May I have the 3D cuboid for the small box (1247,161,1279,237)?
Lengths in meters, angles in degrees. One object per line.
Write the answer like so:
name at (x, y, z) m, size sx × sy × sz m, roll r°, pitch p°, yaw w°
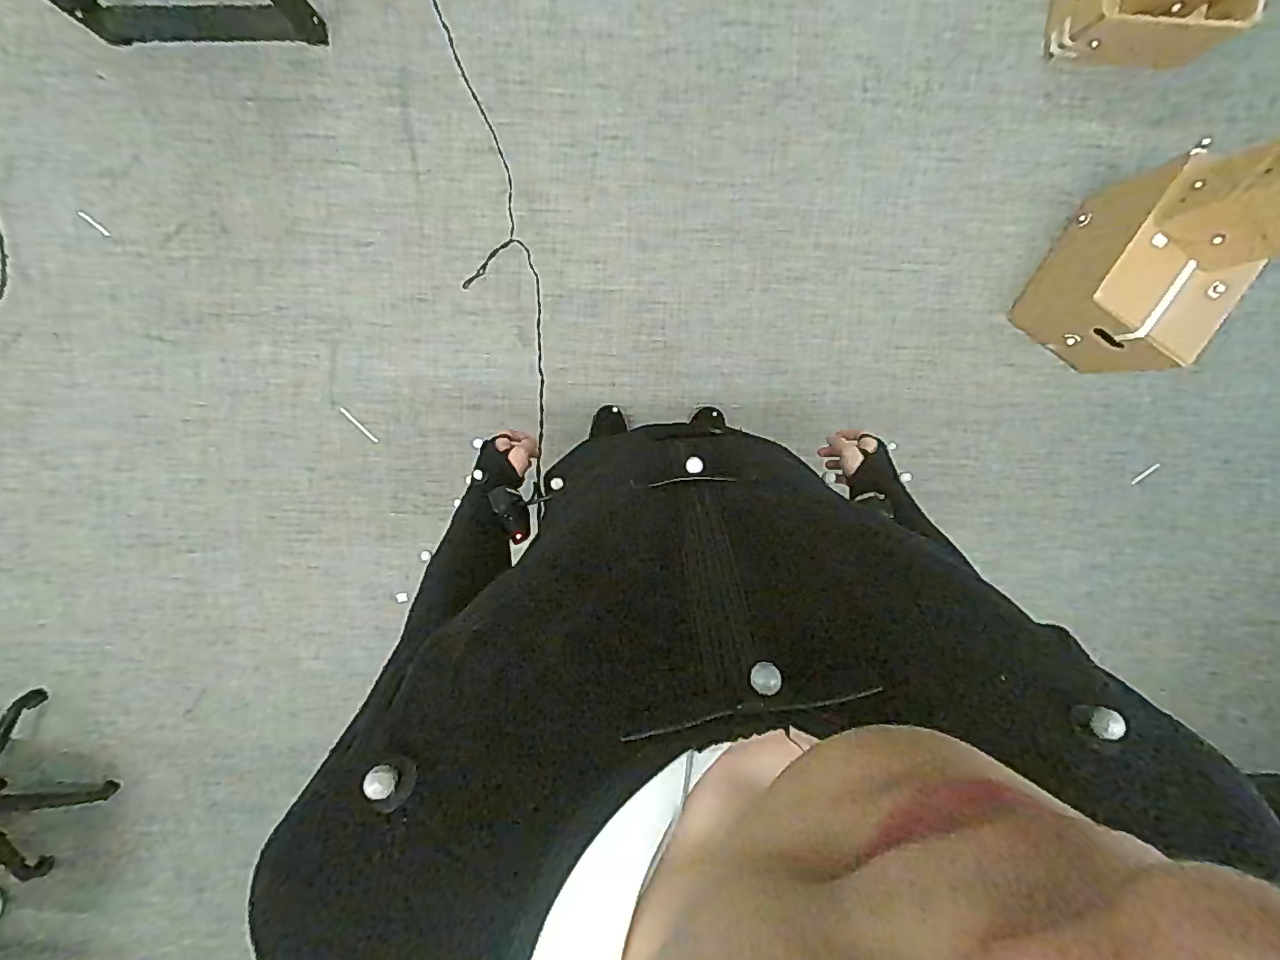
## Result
small box at (1.332, -0.558, 1.008) m, size 0.179 × 0.176 × 0.168 m, roll 42°, pitch 96°, yaw -4°

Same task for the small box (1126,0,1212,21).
small box at (1.357, -1.280, 1.336) m, size 0.168 × 0.176 × 0.179 m, roll -2°, pitch 98°, yaw 0°
